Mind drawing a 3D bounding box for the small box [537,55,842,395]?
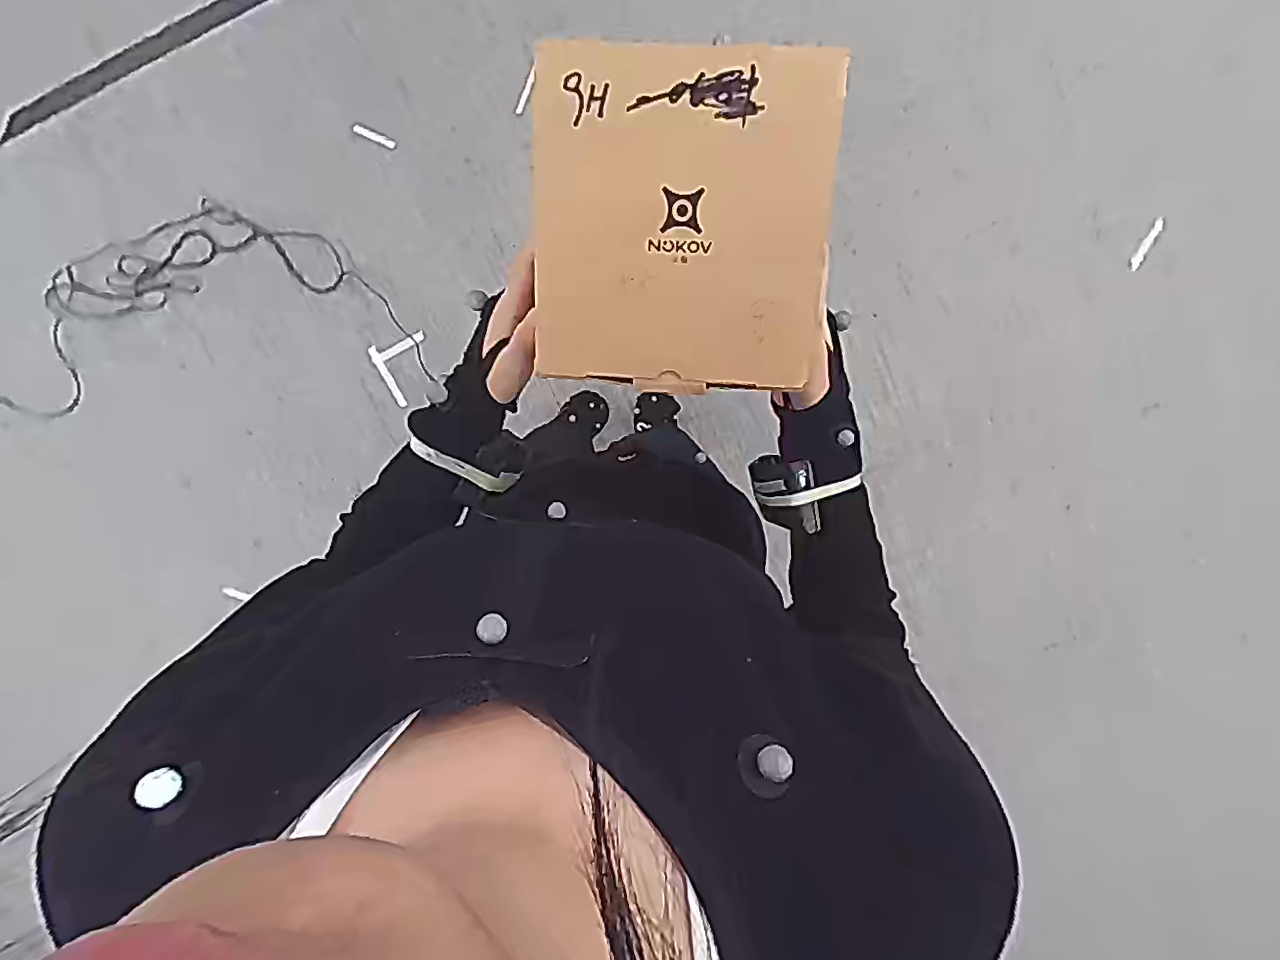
[{"bbox_3d":[0.026,-0.163,0.387,0.168,0.176,0.179,2,106,1],"label":"small box"}]
